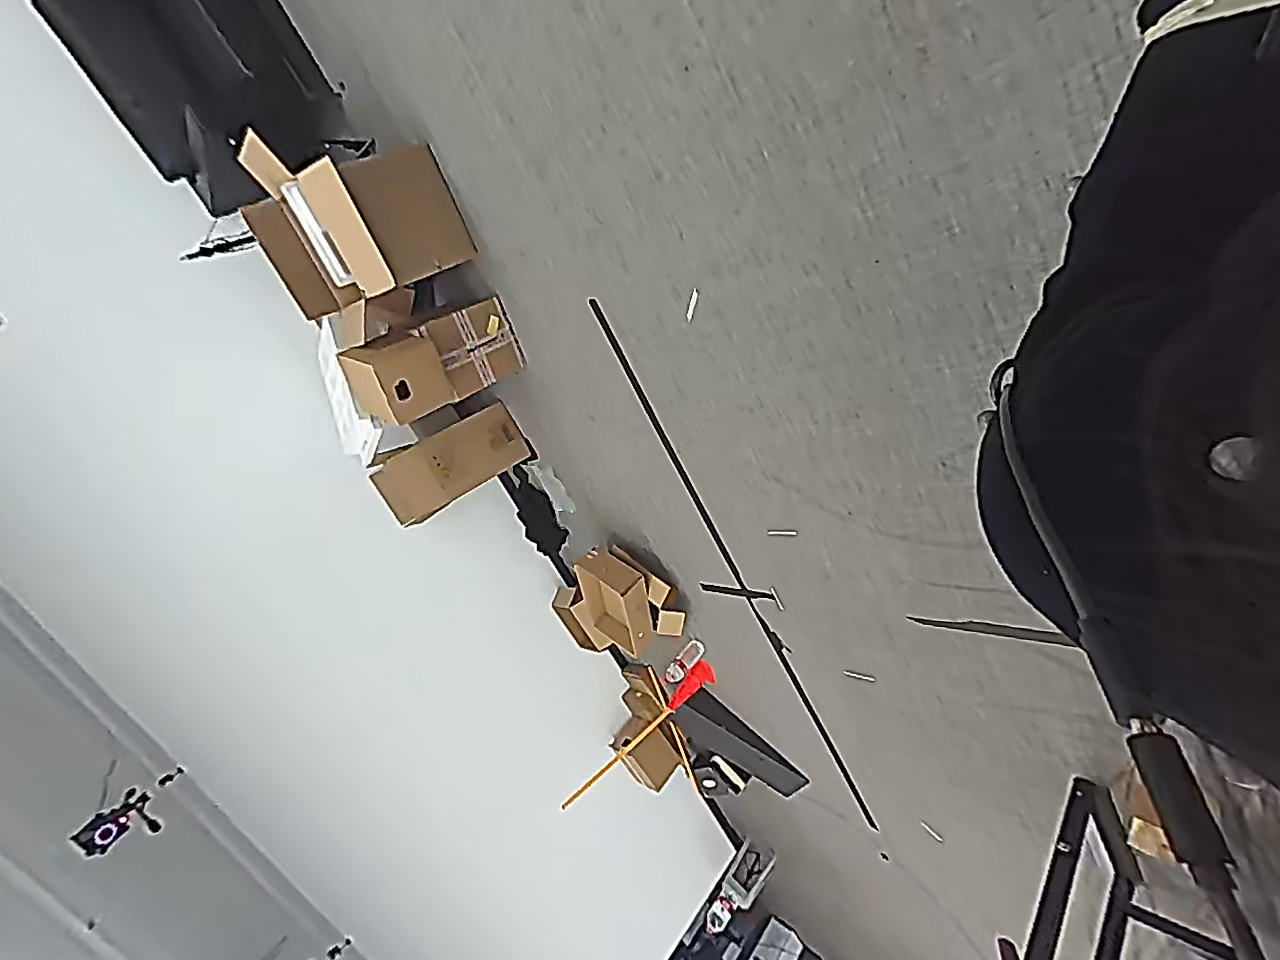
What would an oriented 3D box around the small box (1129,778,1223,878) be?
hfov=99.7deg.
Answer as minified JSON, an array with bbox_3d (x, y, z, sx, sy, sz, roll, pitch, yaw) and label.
[{"bbox_3d":[1.651,1.059,1.666,0.179,0.176,0.168,13,132,44],"label":"small box"}]
